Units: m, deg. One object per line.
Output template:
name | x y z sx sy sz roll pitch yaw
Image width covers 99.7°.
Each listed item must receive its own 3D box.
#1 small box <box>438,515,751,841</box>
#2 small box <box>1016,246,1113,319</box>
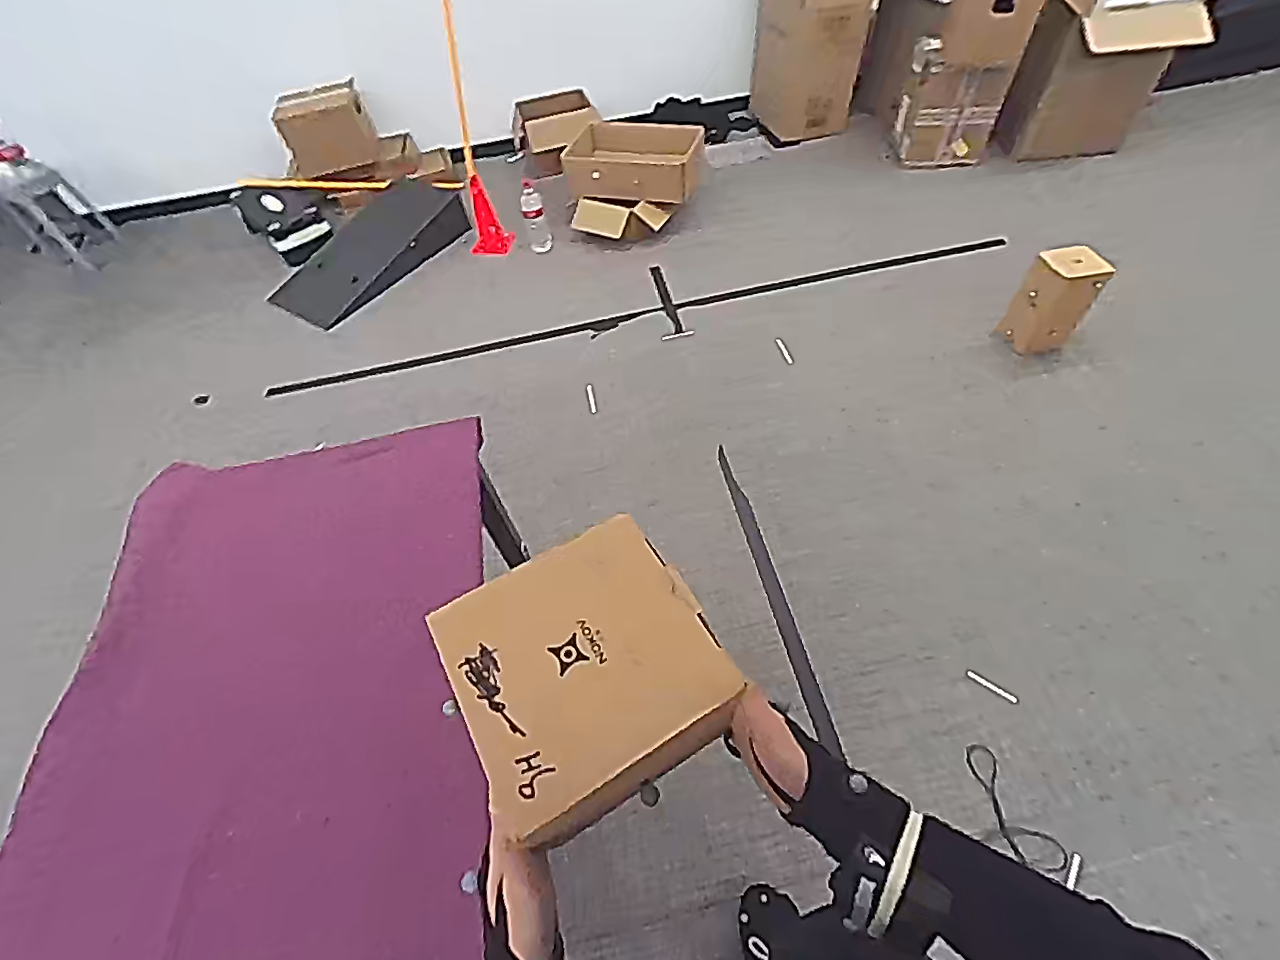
small box | -0.037 0.165 0.448 0.179 0.176 0.168 -26 57 -17
small box | 1.489 -0.694 1.910 0.179 0.176 0.168 -10 53 0
